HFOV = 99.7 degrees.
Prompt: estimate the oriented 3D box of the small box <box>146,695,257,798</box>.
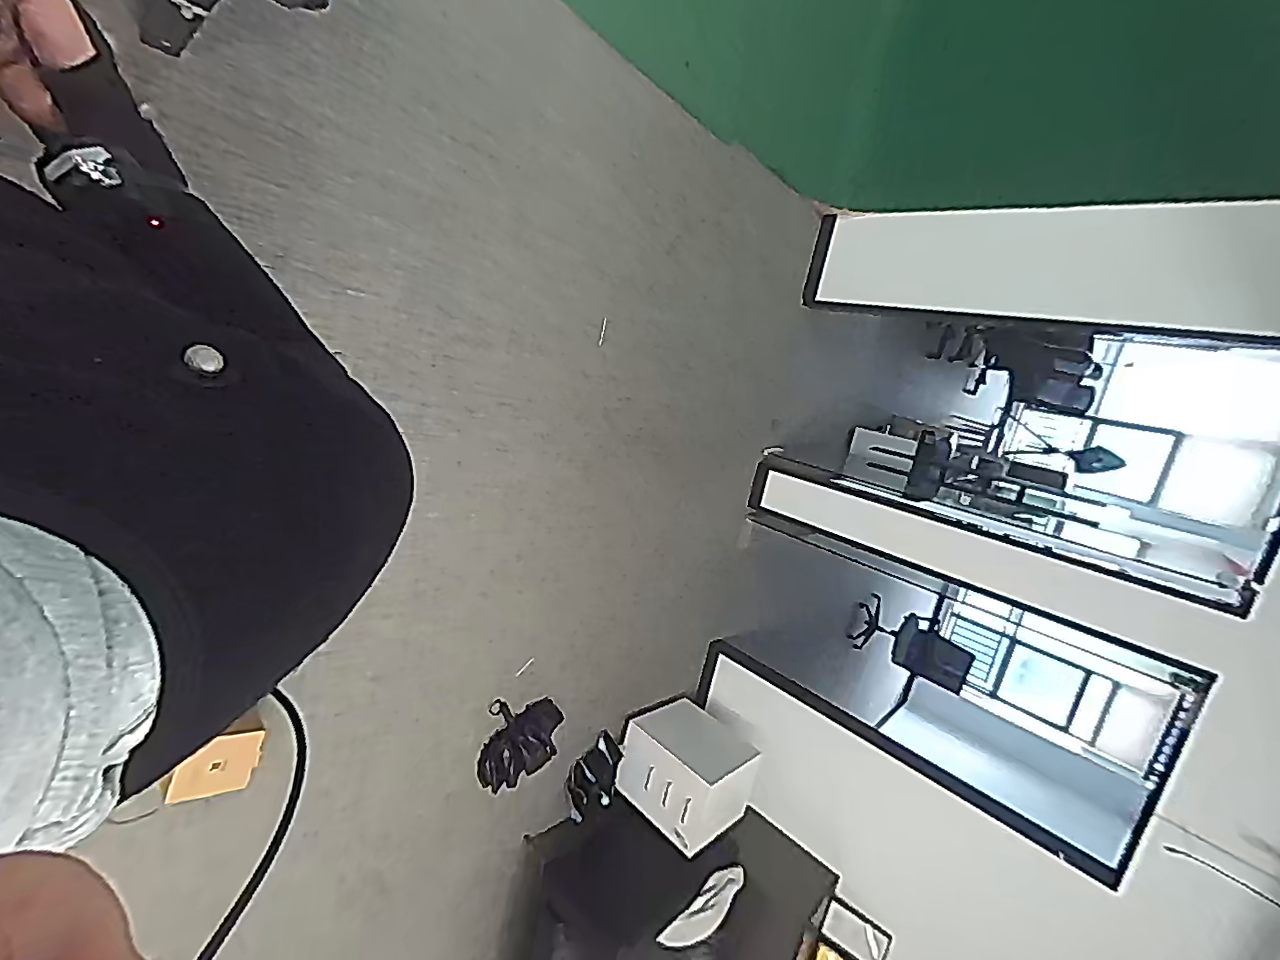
[{"bbox_3d":[-1.145,0.682,1.411,0.179,0.176,0.168,17,92,-51],"label":"small box"}]
